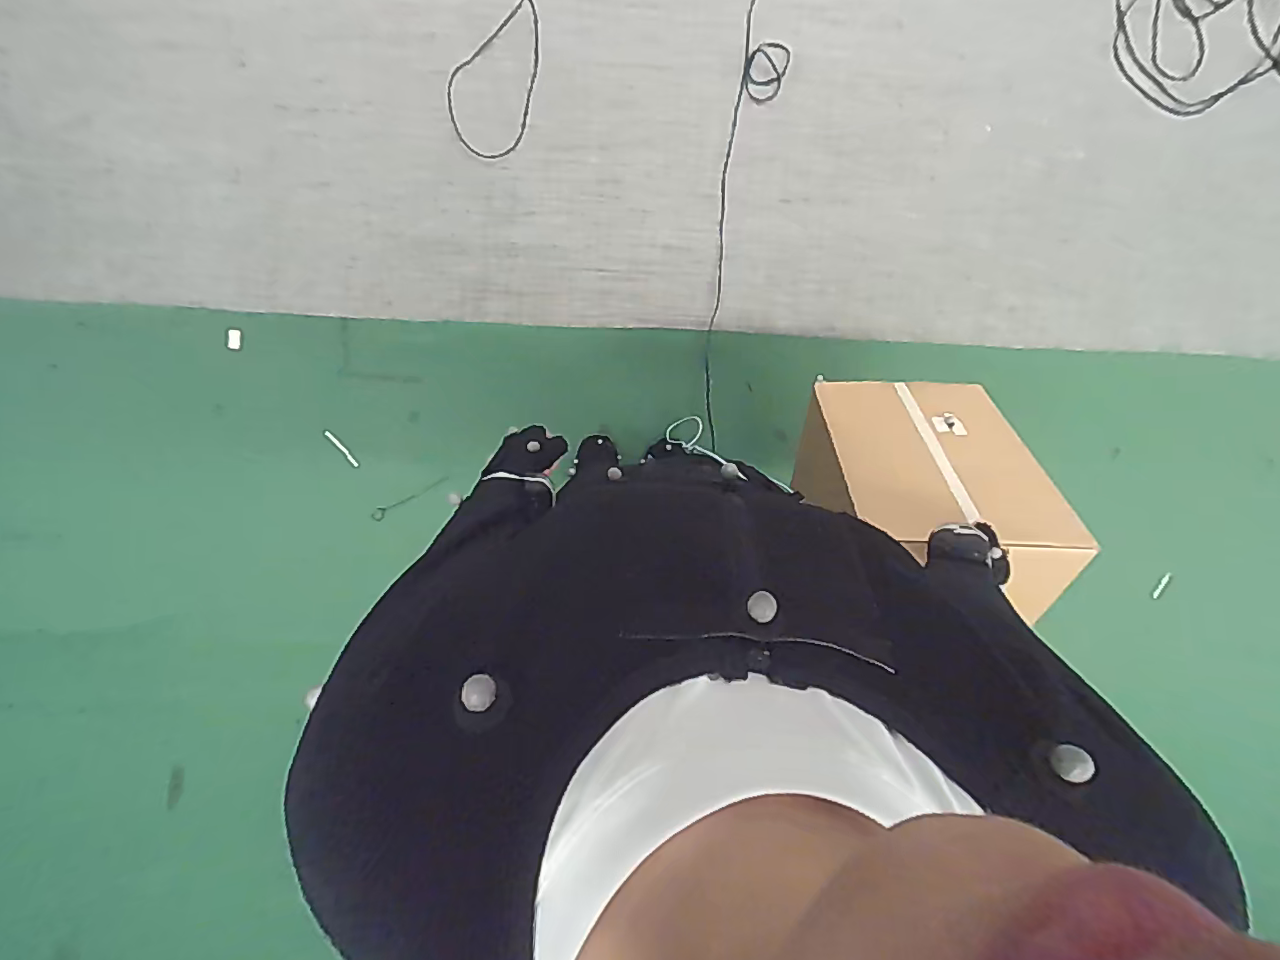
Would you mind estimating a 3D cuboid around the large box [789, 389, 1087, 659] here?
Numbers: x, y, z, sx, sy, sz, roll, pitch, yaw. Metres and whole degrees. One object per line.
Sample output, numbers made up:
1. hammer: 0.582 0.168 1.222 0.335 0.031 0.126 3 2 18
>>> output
1. large box: 0.478 0.073 0.994 0.320 0.408 0.320 2 132 2
